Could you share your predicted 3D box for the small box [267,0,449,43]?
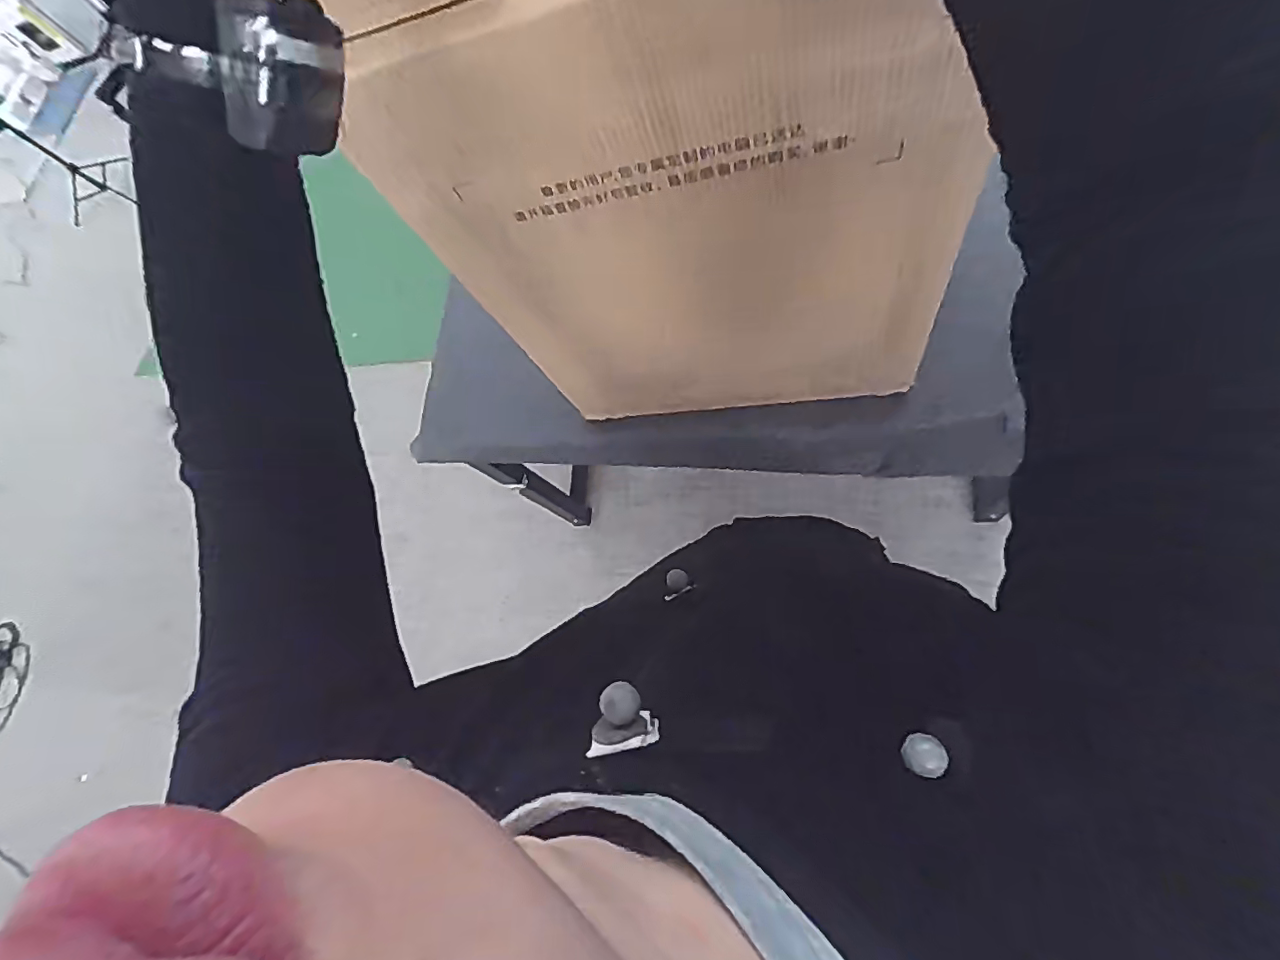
[{"bbox_3d":[-0.196,-0.427,0.337,0.179,0.176,0.168,-3,73,18],"label":"small box"}]
